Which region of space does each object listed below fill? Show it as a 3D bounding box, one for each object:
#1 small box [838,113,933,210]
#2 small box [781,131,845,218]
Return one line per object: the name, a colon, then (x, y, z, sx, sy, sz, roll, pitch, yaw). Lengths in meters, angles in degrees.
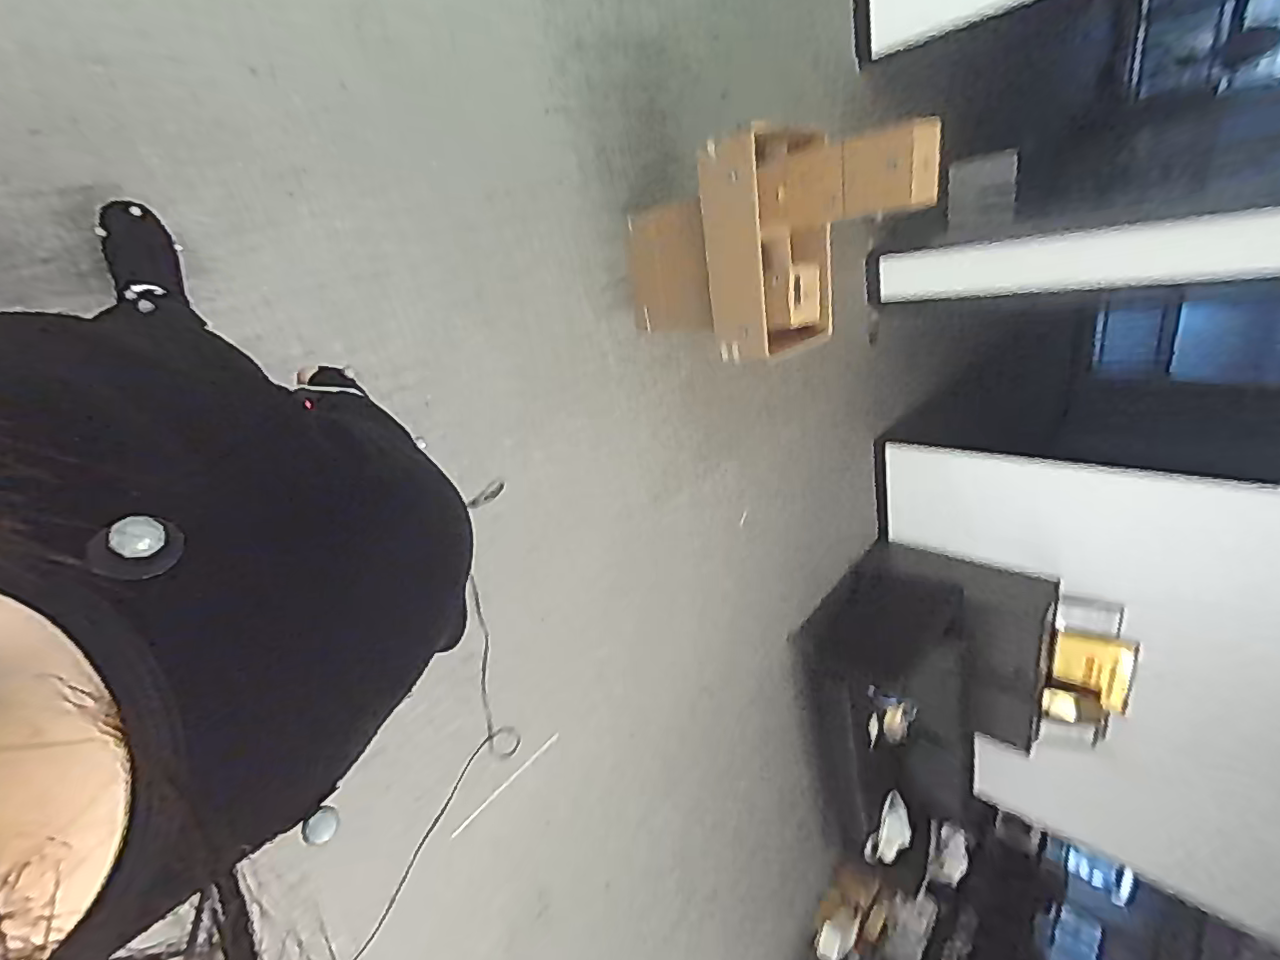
small box: (0.607, -0.788, 1.344, 0.168, 0.176, 0.179, -30, 121, -36)
small box: (0.493, -0.821, 1.458, 0.168, 0.176, 0.179, -30, 122, -37)
